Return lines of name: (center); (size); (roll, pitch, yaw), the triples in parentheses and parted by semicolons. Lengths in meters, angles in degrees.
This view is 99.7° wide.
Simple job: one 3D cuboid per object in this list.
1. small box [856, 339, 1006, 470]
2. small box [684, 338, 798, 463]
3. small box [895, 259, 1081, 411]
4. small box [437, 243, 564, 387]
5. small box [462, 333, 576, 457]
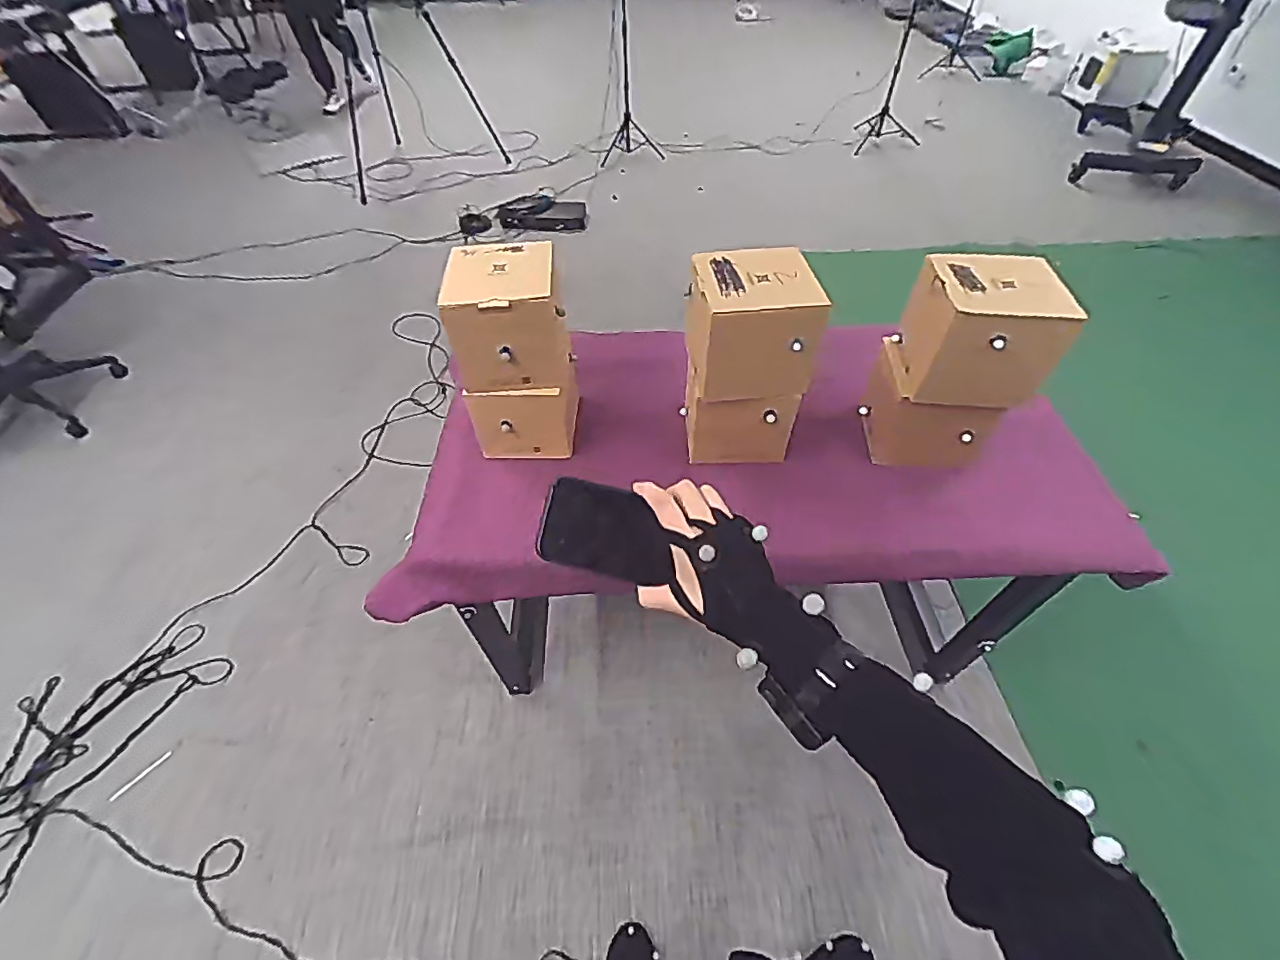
small box: (0.515, -0.134, 0.984); (0.179, 0.176, 0.168); (4, 50, 5)
small box: (0.175, -0.143, 0.998); (0.179, 0.176, 0.168); (0, 50, 1)
small box: (0.521, -0.225, 0.848); (0.179, 0.176, 0.168); (4, 50, 4)
small box: (-0.218, -0.267, 0.896); (0.168, 0.176, 0.179); (-4, 51, -2)
small box: (-0.215, -0.156, 1.018); (0.168, 0.176, 0.179); (0, 51, 1)
